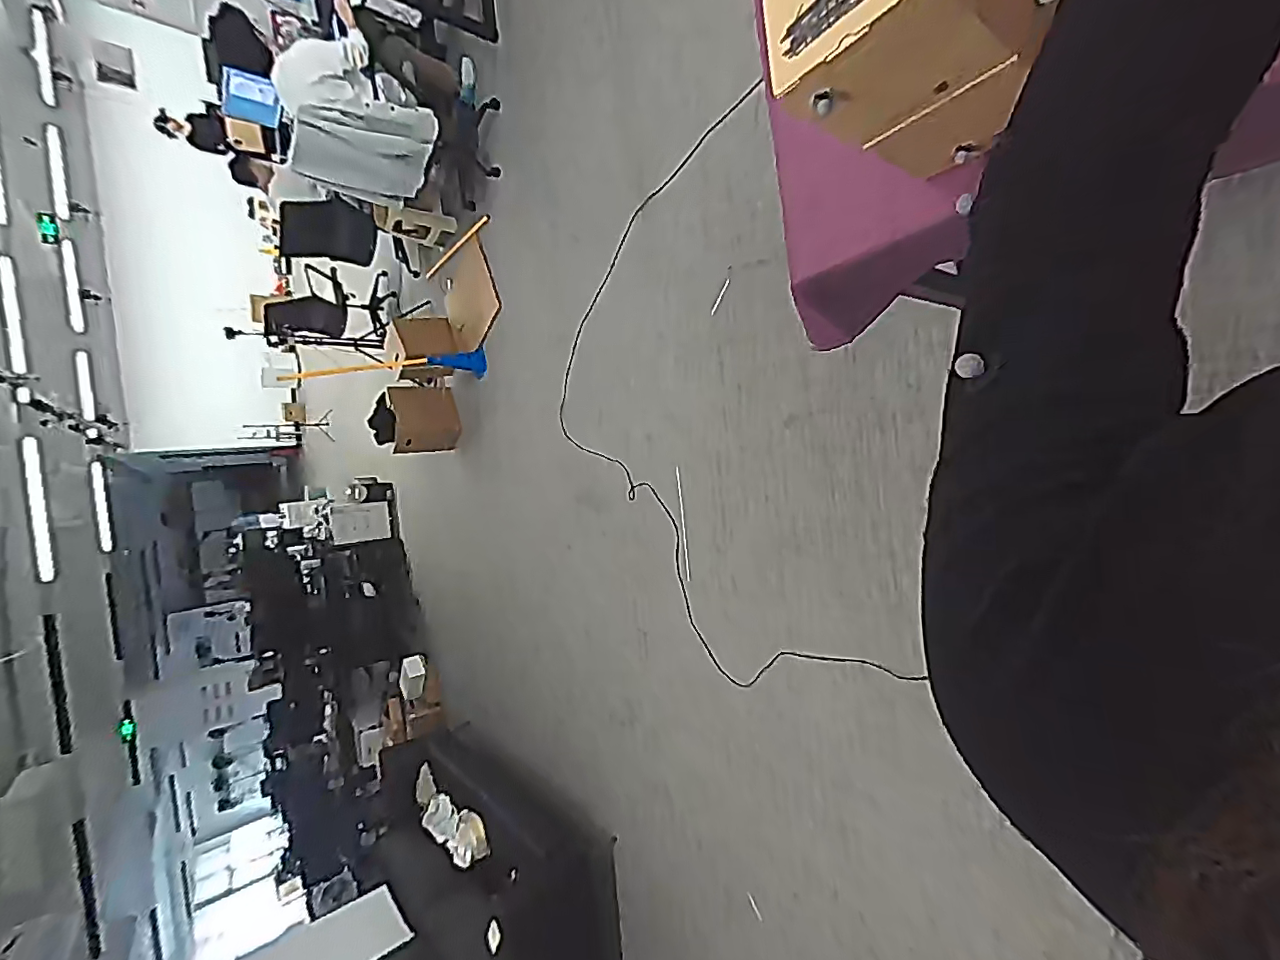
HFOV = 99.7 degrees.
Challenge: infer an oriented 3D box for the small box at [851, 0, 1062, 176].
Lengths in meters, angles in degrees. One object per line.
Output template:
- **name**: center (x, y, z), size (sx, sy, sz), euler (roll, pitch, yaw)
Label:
- **small box**: center (0.380, -0.505, 0.651), size (0.168, 0.176, 0.179), euler (-5, 92, 52)
